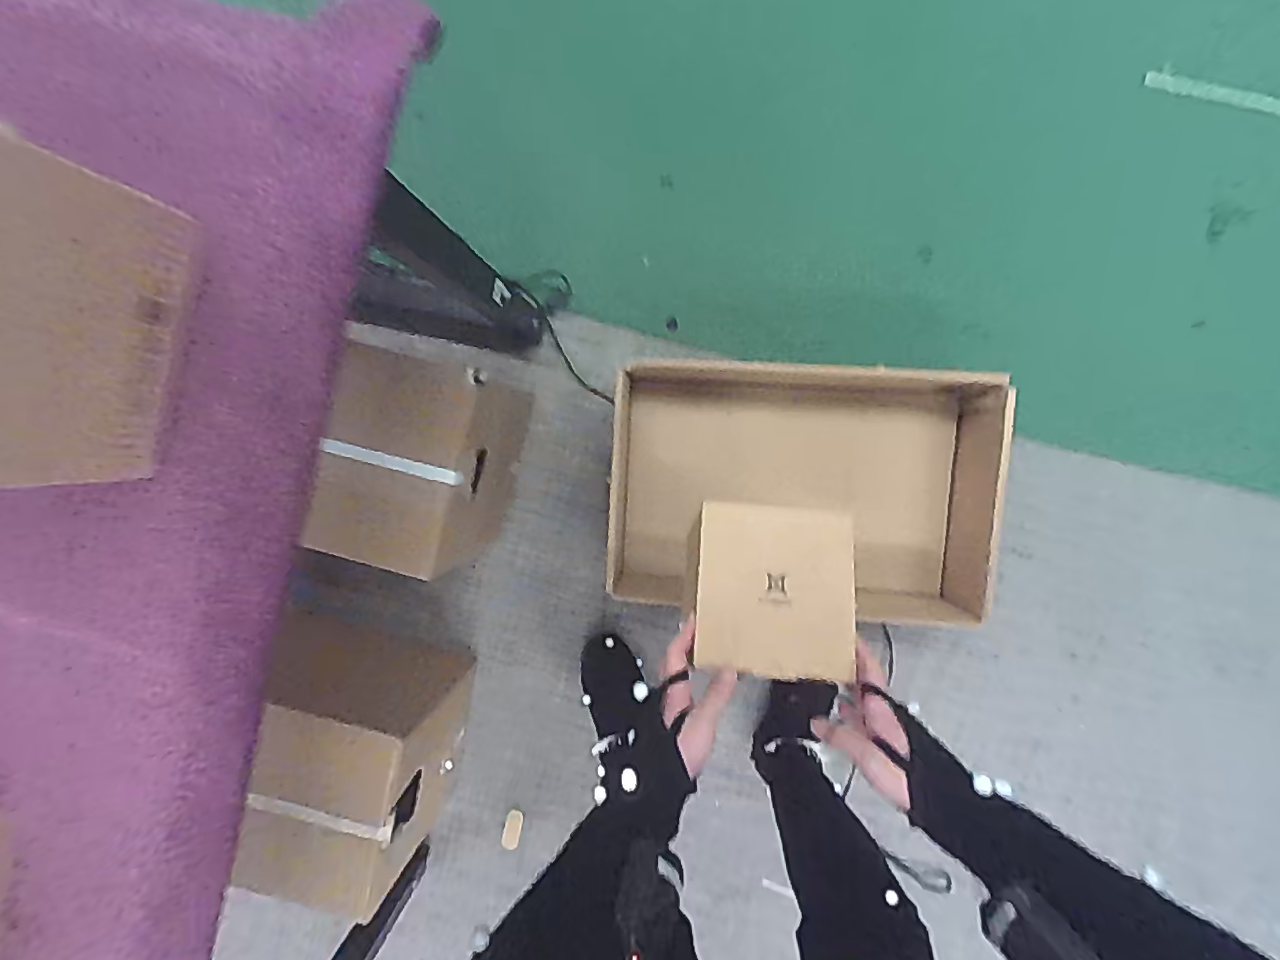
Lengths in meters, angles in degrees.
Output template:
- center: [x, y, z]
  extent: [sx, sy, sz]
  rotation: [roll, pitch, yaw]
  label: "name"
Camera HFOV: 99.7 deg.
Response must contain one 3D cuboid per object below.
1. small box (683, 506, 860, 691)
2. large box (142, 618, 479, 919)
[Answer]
- center: [0.142, 0.140, 0.632]
  extent: [0.168, 0.176, 0.179]
  rotation: [5, 74, 1]
  label: "small box"
- center: [-0.559, 0.482, 0.983]
  extent: [0.408, 0.320, 0.320]
  rotation: [13, 93, 4]
  label: "large box"
